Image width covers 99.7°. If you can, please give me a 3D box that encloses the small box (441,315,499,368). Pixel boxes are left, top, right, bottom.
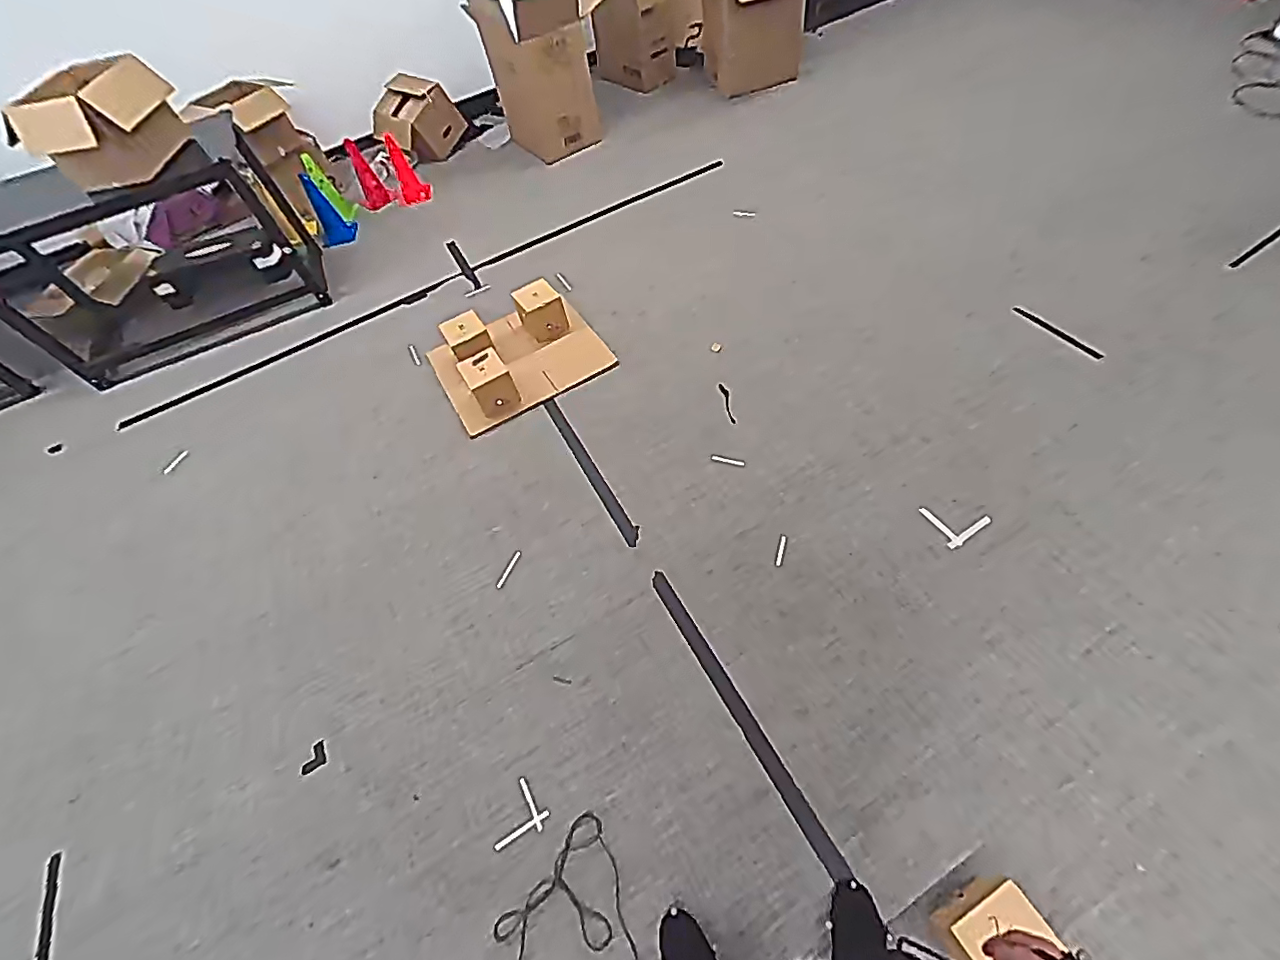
[{"bbox_3d":[-0.742,-0.581,2.369,0.168,0.176,0.179,-30,57,-11],"label":"small box"}]

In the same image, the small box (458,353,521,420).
[{"bbox_3d":[-0.614,-0.381,2.211,0.168,0.176,0.179,-31,58,-11],"label":"small box"}]

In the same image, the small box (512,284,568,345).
[{"bbox_3d":[-0.447,-0.742,2.439,0.168,0.176,0.179,-33,57,-13],"label":"small box"}]
